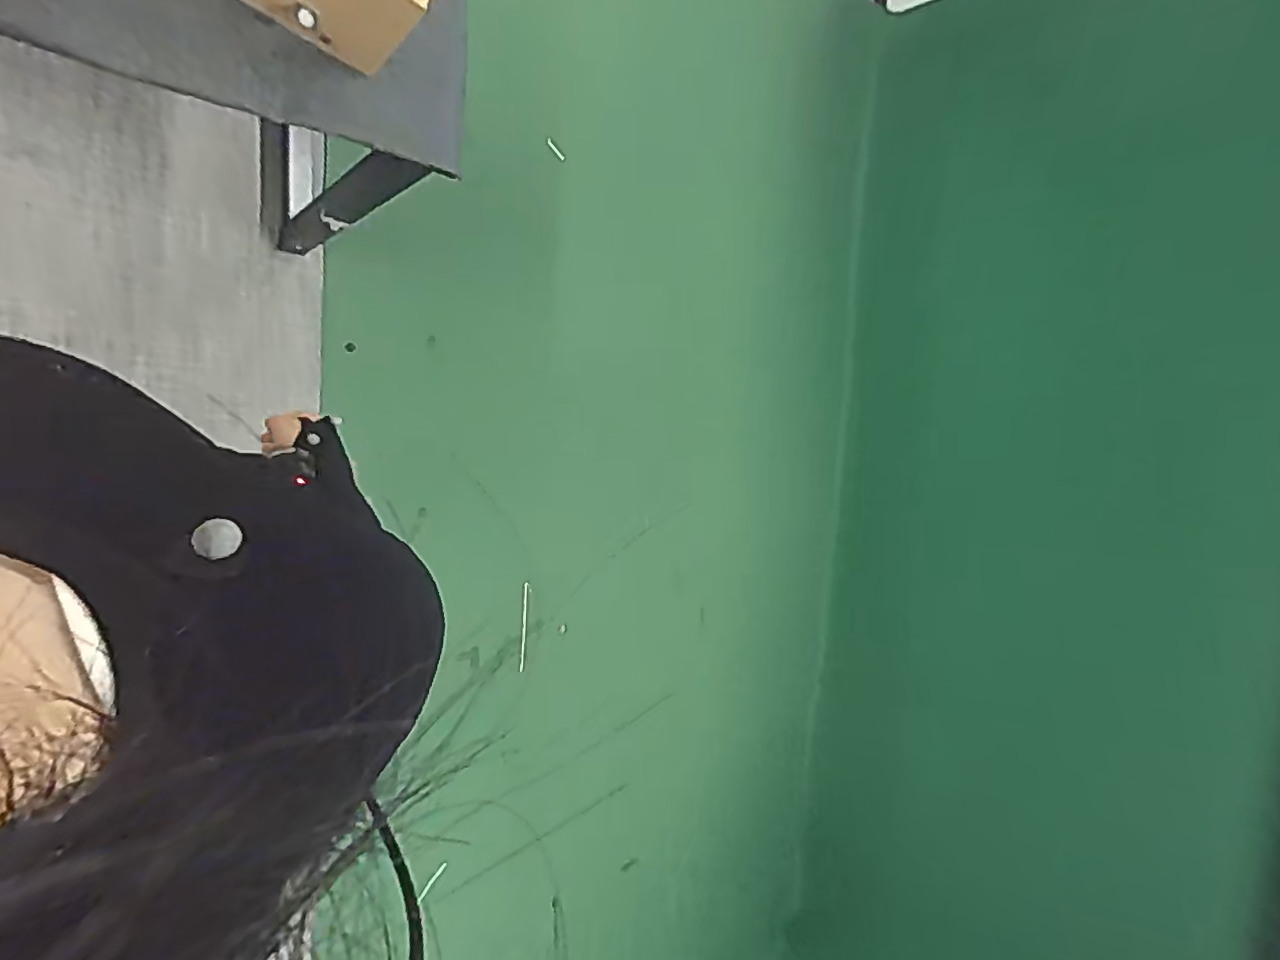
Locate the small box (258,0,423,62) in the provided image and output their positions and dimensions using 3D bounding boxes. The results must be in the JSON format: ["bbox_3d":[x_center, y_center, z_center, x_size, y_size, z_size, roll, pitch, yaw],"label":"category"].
[{"bbox_3d":[-0.338,-0.616,0.582,0.168,0.176,0.179,7,89,-46],"label":"small box"}]
